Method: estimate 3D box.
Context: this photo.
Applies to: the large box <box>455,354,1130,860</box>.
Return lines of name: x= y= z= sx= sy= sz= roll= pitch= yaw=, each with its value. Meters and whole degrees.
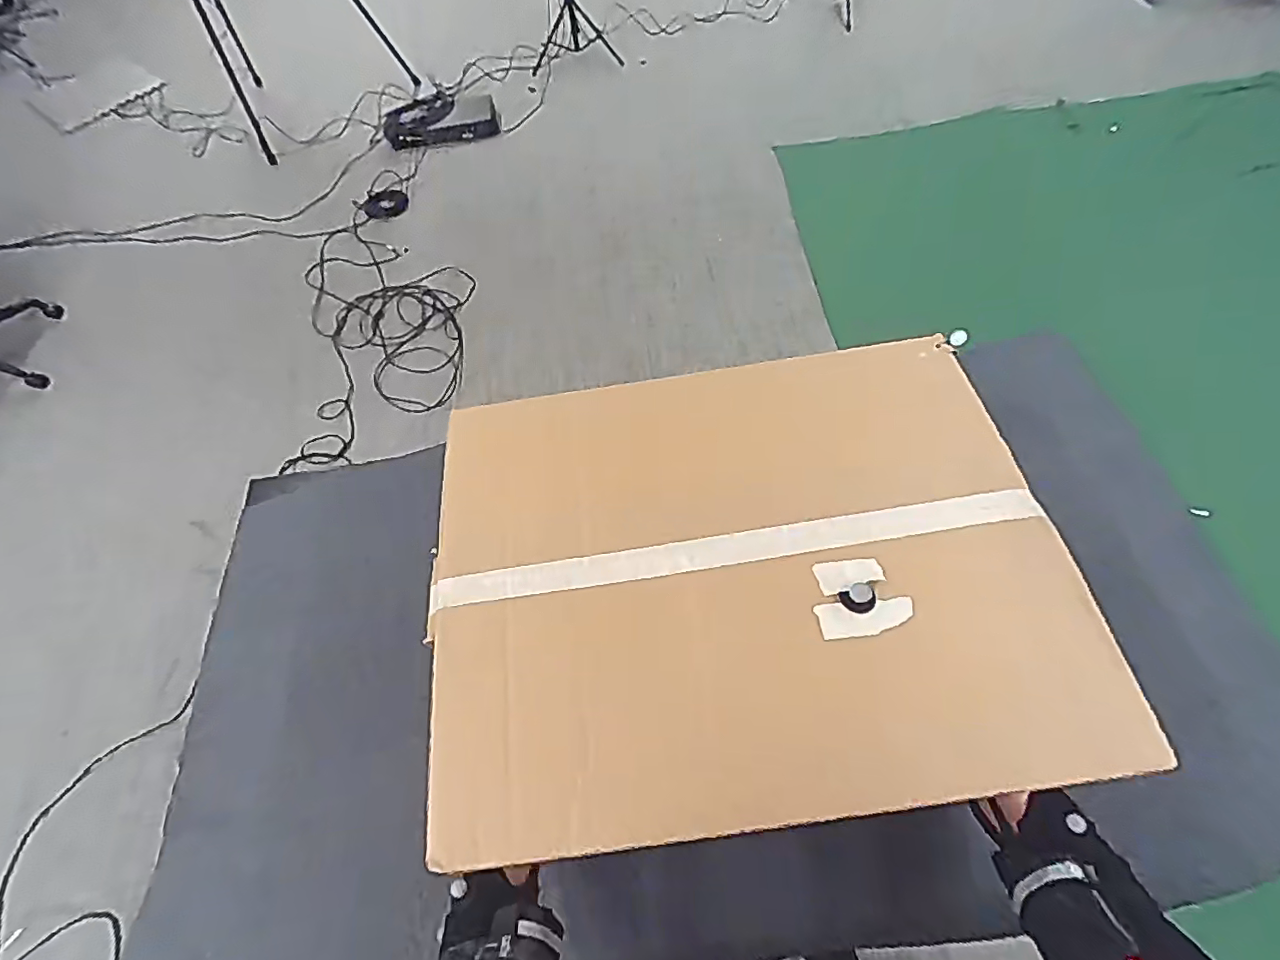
large box: x=0.078 y=0.128 z=0.511 sx=0.408 sy=0.320 sz=0.320 roll=-9 pitch=61 yaw=0
